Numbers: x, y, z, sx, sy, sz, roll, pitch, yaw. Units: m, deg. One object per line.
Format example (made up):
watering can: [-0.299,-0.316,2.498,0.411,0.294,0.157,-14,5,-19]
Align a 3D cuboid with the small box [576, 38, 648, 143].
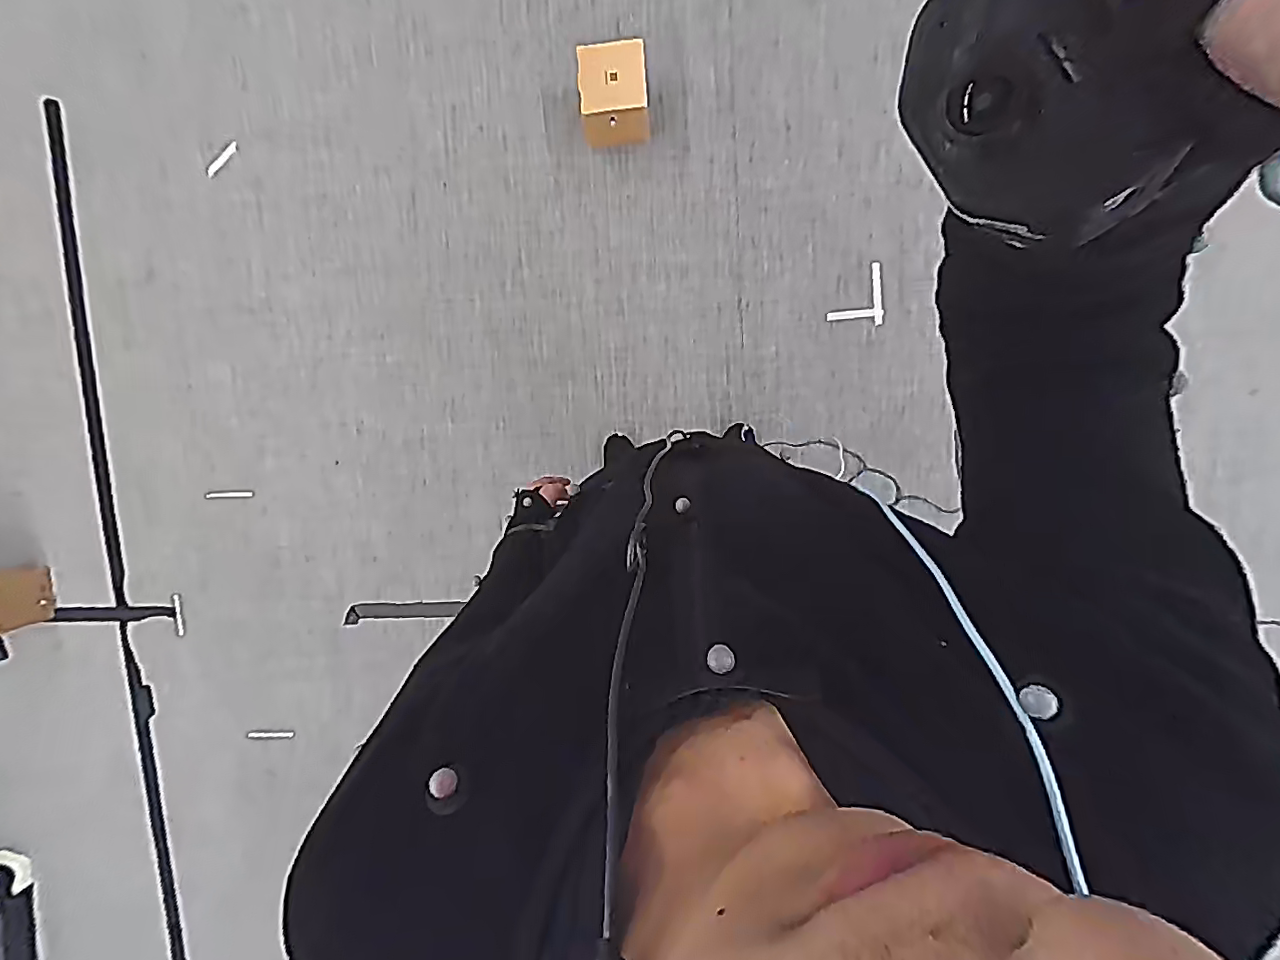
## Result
small box: [-0.069,-1.045,1.463,0.179,0.176,0.168,-4,96,5]
